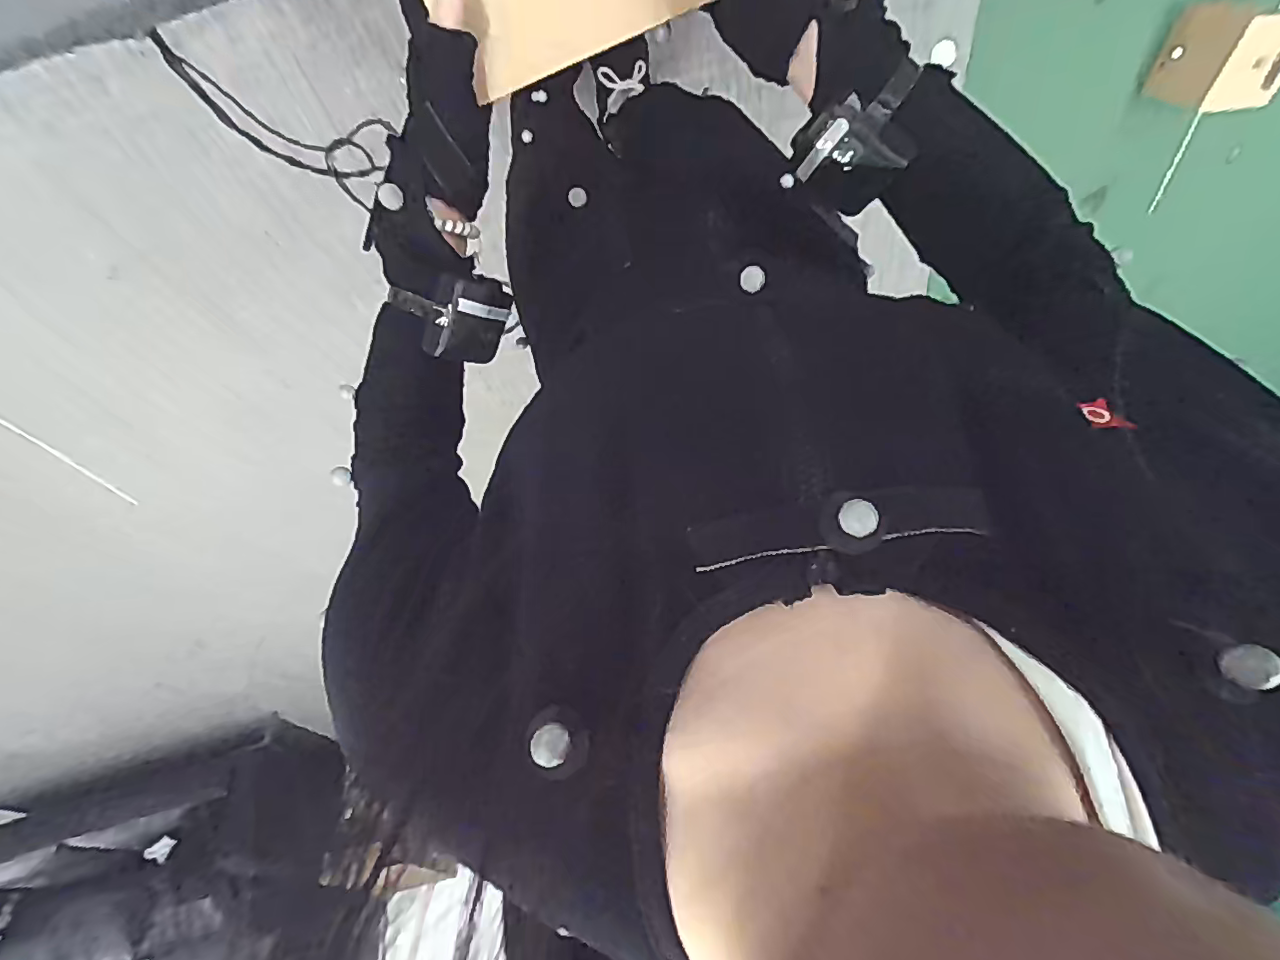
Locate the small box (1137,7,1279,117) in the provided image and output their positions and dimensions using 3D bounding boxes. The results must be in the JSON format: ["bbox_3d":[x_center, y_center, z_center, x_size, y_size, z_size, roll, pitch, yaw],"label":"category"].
[{"bbox_3d":[1.291,-0.932,1.204,0.179,0.176,0.168,-8,137,-5],"label":"small box"}]

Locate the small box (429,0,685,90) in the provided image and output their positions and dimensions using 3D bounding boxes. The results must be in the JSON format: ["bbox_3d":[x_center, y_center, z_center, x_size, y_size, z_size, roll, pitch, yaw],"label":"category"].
[{"bbox_3d":[-0.061,-0.373,0.321,0.179,0.176,0.168,-21,138,6],"label":"small box"}]
